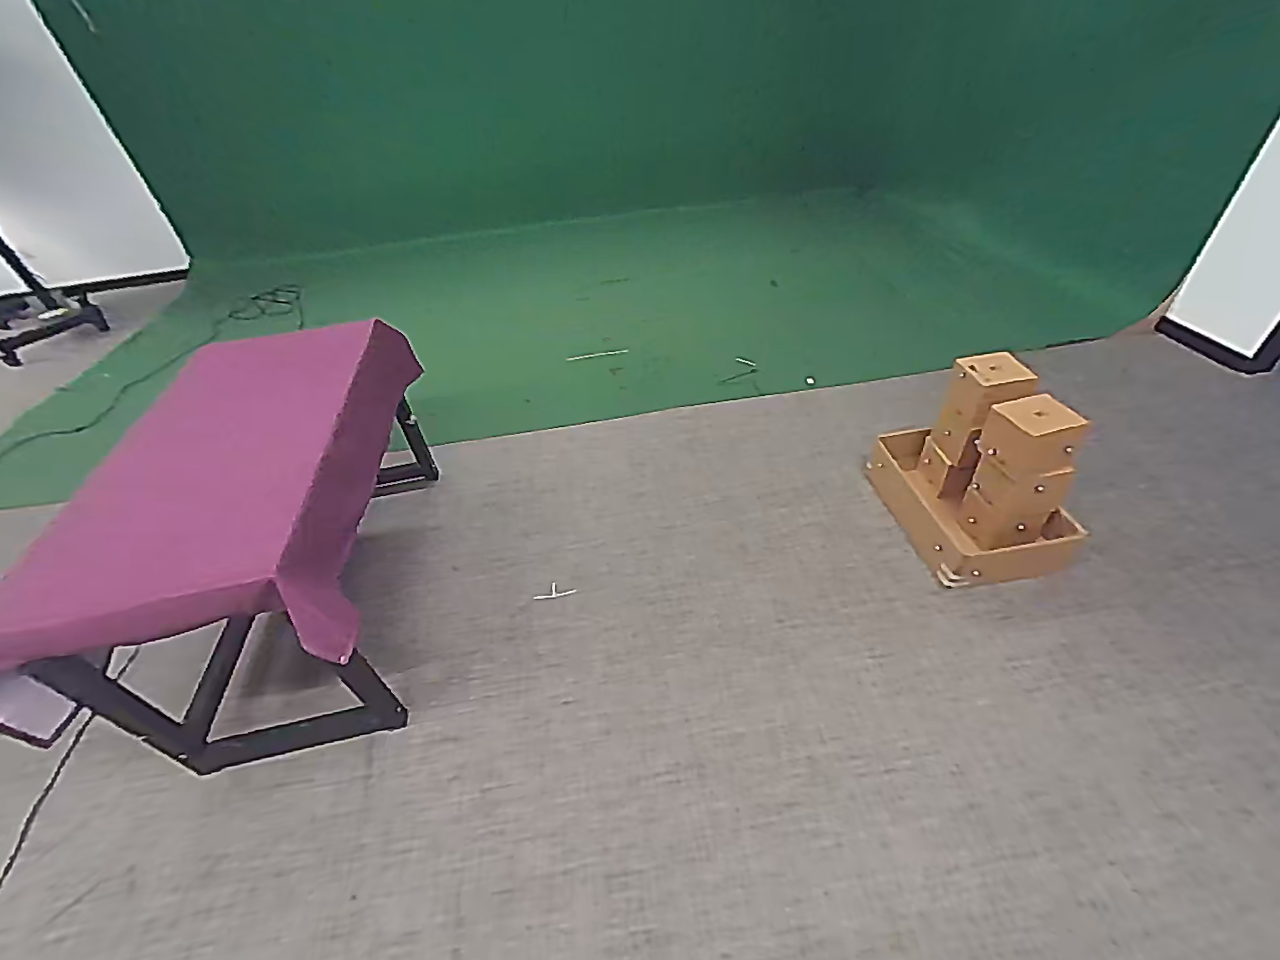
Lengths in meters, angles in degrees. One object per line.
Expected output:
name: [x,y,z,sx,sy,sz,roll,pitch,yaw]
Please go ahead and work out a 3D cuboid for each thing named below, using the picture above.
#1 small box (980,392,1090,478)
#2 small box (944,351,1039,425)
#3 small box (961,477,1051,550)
small box: [1.141,-0.129,1.580,0.179,0.176,0.168,-13,41,-4]
small box: [1.137,-0.298,1.765,0.179,0.176,0.168,-8,42,-1]
small box: [1.198,0.115,1.792,0.179,0.176,0.168,-10,42,-2]
